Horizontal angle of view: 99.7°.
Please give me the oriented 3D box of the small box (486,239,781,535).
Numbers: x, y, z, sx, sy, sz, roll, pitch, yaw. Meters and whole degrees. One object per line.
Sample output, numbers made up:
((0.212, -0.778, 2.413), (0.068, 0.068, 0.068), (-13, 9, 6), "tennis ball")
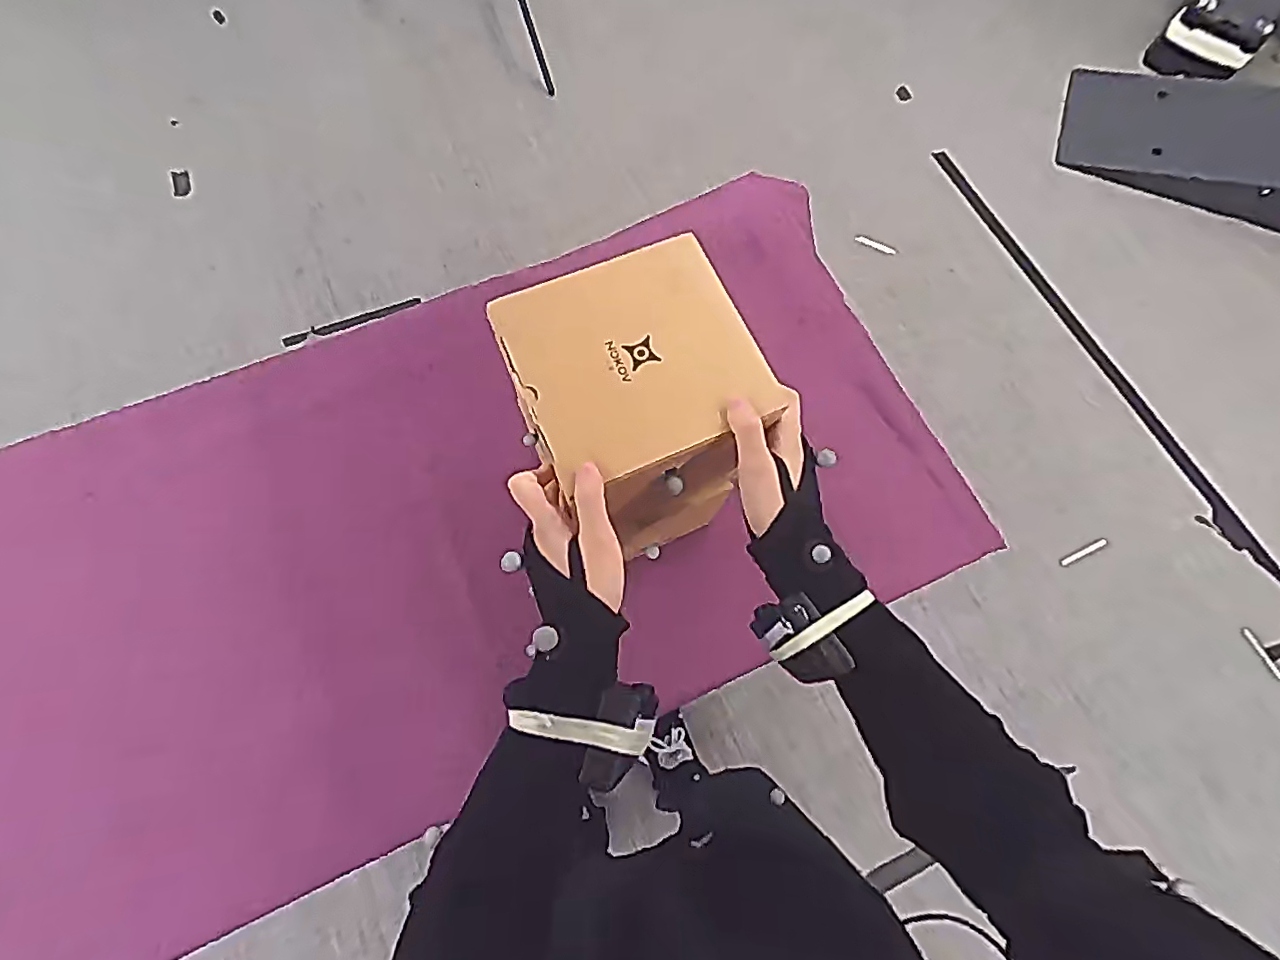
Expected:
((-0.010, -0.067, 0.476), (0.179, 0.176, 0.168), (-23, 76, -8), "small box")

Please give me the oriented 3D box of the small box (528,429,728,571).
((-0.023, -0.011, 0.629), (0.168, 0.176, 0.179), (-23, 76, -9), "small box")
